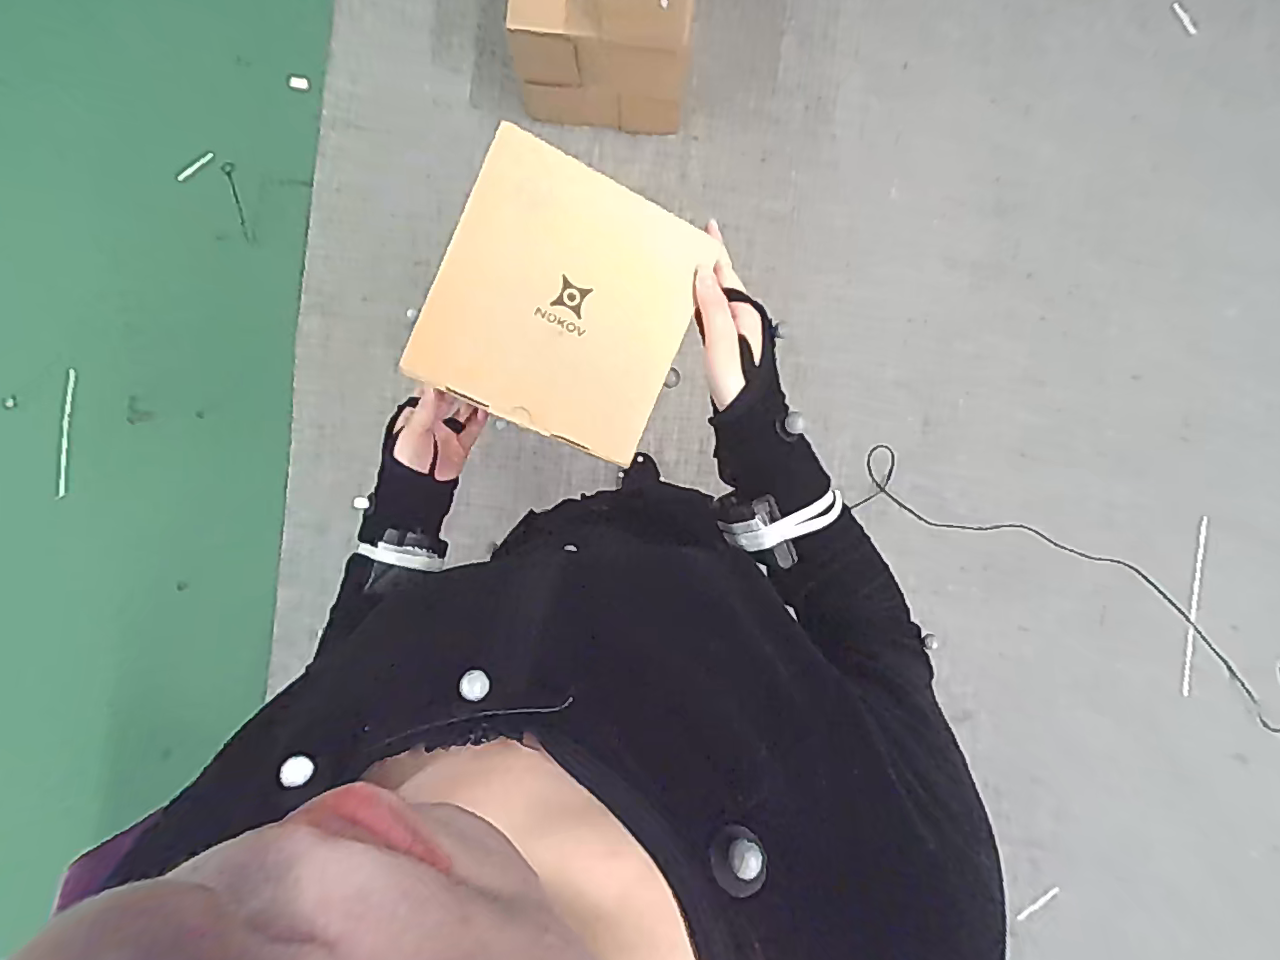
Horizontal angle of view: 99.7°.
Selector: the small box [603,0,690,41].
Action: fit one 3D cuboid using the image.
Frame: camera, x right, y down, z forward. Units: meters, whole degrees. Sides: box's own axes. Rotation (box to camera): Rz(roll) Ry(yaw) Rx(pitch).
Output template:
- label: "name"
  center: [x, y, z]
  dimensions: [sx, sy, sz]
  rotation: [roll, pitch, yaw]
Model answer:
- label: "small box"
  center: [0.021, -1.025, 1.075]
  dimensions: [0.179, 0.176, 0.168]
  rotation: [8, 91, 1]
